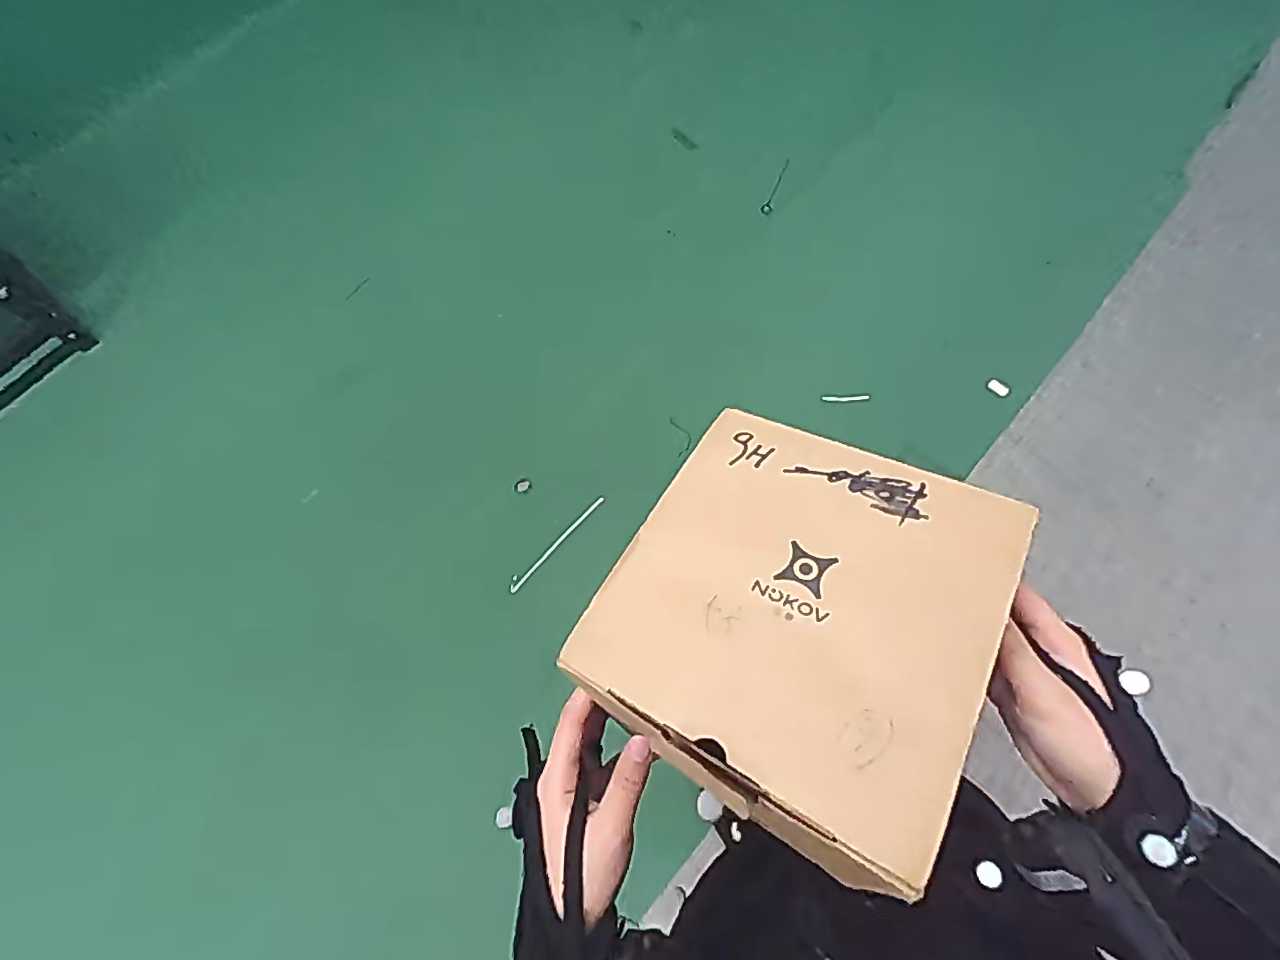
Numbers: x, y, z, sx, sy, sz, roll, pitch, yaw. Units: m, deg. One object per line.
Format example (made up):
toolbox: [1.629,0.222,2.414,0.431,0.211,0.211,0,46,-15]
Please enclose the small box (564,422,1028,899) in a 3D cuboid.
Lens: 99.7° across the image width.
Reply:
small box: [0.089,0.102,0.323,0.168,0.176,0.179,23,64,26]
